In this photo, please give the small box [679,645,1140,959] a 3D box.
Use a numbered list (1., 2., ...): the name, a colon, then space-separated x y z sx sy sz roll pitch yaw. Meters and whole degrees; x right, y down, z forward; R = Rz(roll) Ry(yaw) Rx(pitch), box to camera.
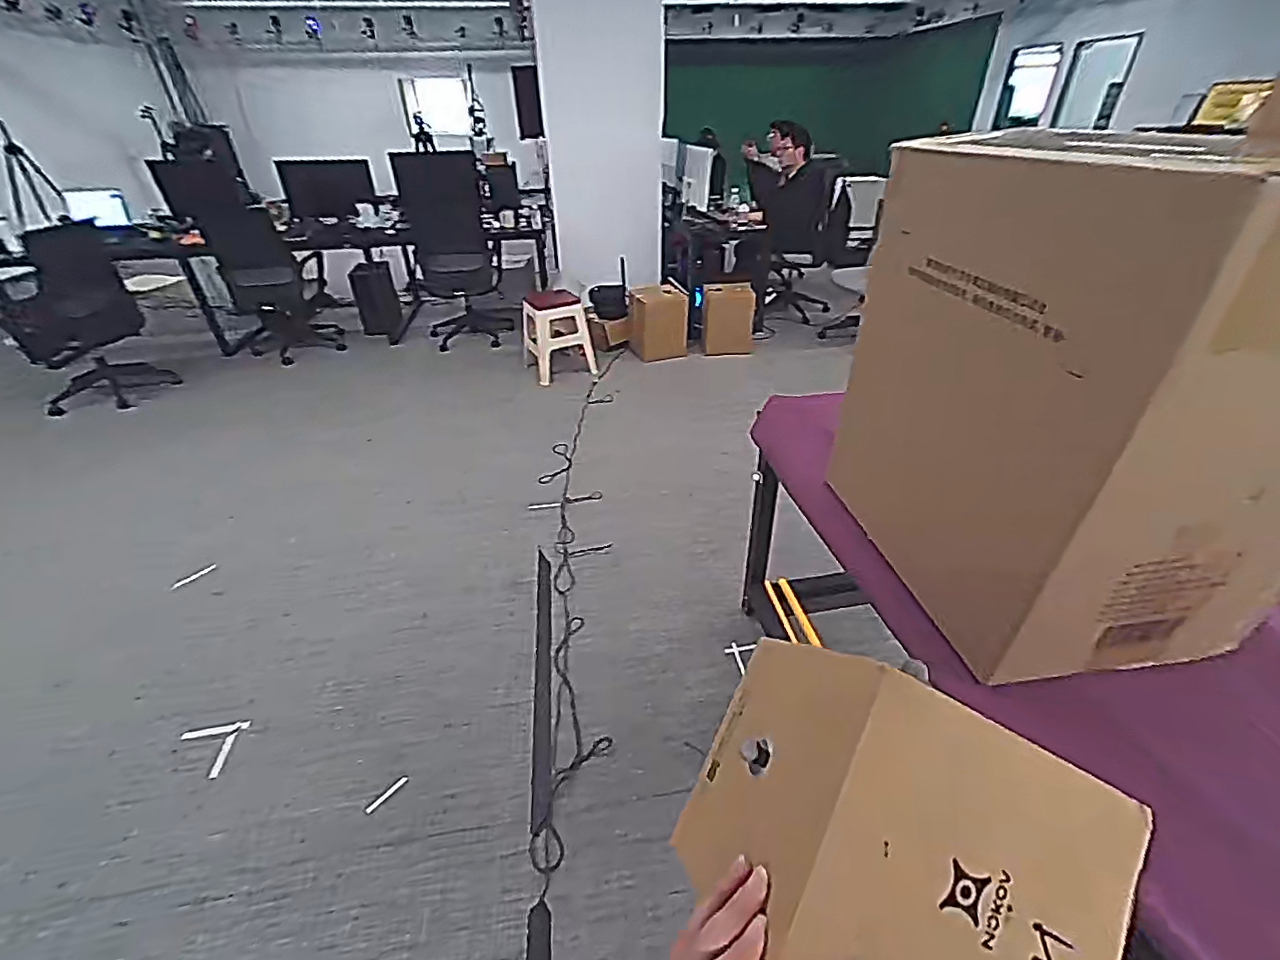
1. small box: 0.146 0.220 0.346 0.179 0.176 0.168 30 76 -4
